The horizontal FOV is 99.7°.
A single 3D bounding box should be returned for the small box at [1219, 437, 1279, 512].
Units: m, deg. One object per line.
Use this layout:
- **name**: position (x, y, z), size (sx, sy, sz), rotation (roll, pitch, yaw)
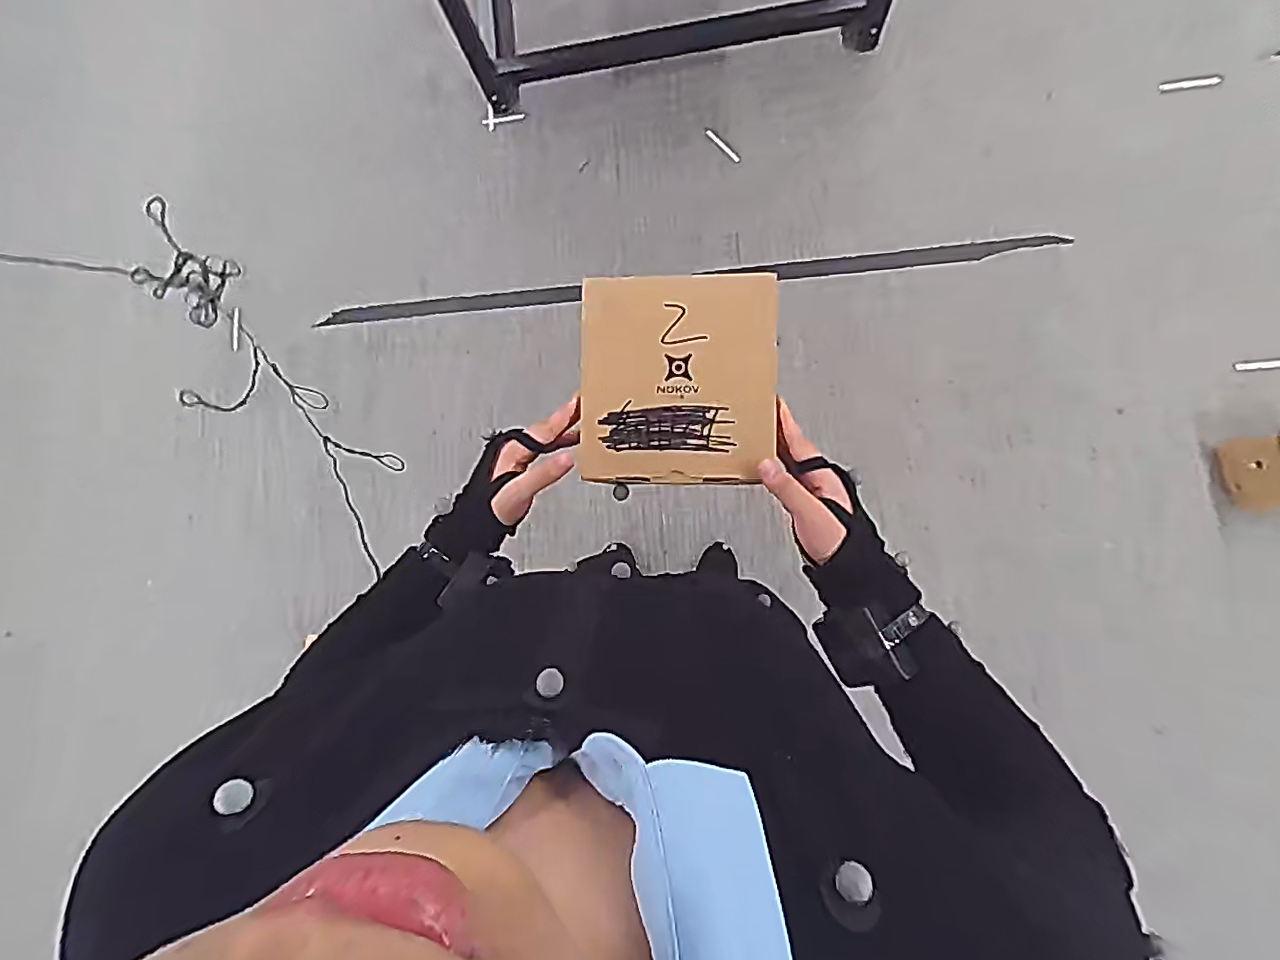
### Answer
- **small box**: position (1.545, -0.023, 1.280), size (0.179, 0.176, 0.168), rotation (-11, 82, 5)
